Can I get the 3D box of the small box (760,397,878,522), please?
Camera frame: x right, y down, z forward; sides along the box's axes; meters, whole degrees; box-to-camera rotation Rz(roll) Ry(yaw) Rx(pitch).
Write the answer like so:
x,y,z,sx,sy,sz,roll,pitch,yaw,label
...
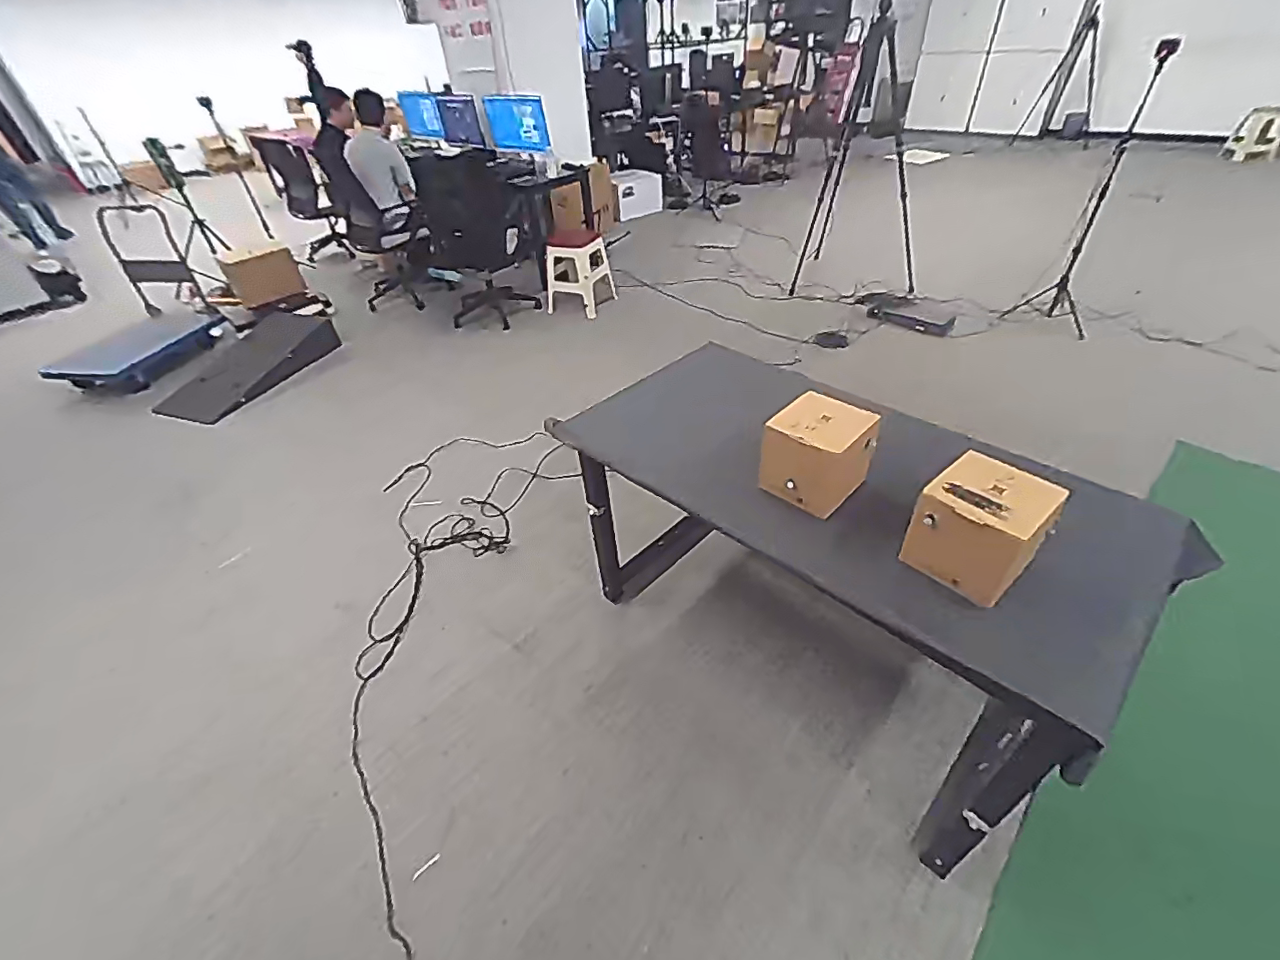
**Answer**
x,y,z,sx,sy,sz,roll,pitch,yaw,label
0.368,-0.046,1.141,0.168,0.176,0.179,30,49,35,small box
